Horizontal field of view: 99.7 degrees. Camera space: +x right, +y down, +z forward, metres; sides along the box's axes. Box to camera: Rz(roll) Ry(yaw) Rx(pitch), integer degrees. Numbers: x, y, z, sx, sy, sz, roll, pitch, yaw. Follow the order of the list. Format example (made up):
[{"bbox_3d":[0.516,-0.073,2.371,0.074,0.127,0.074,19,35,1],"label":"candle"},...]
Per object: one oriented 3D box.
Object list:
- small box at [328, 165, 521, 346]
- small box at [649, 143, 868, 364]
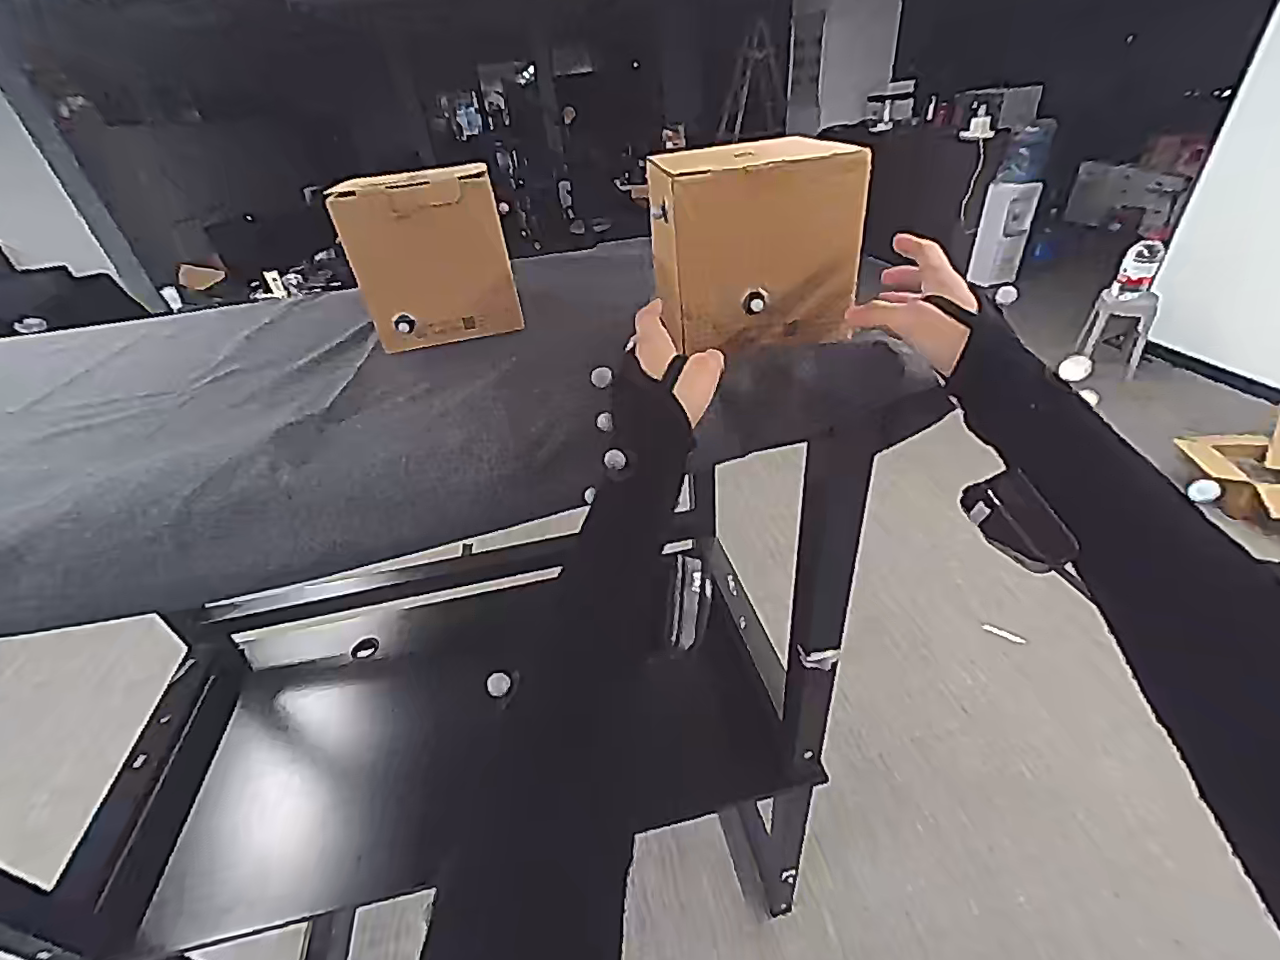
[{"bbox_3d":[-0.248,-0.274,0.666,0.168,0.176,0.179,-13,35,-9],"label":"small box"},{"bbox_3d":[0.105,-0.234,0.552,0.168,0.176,0.179,-9,36,-2],"label":"small box"}]
